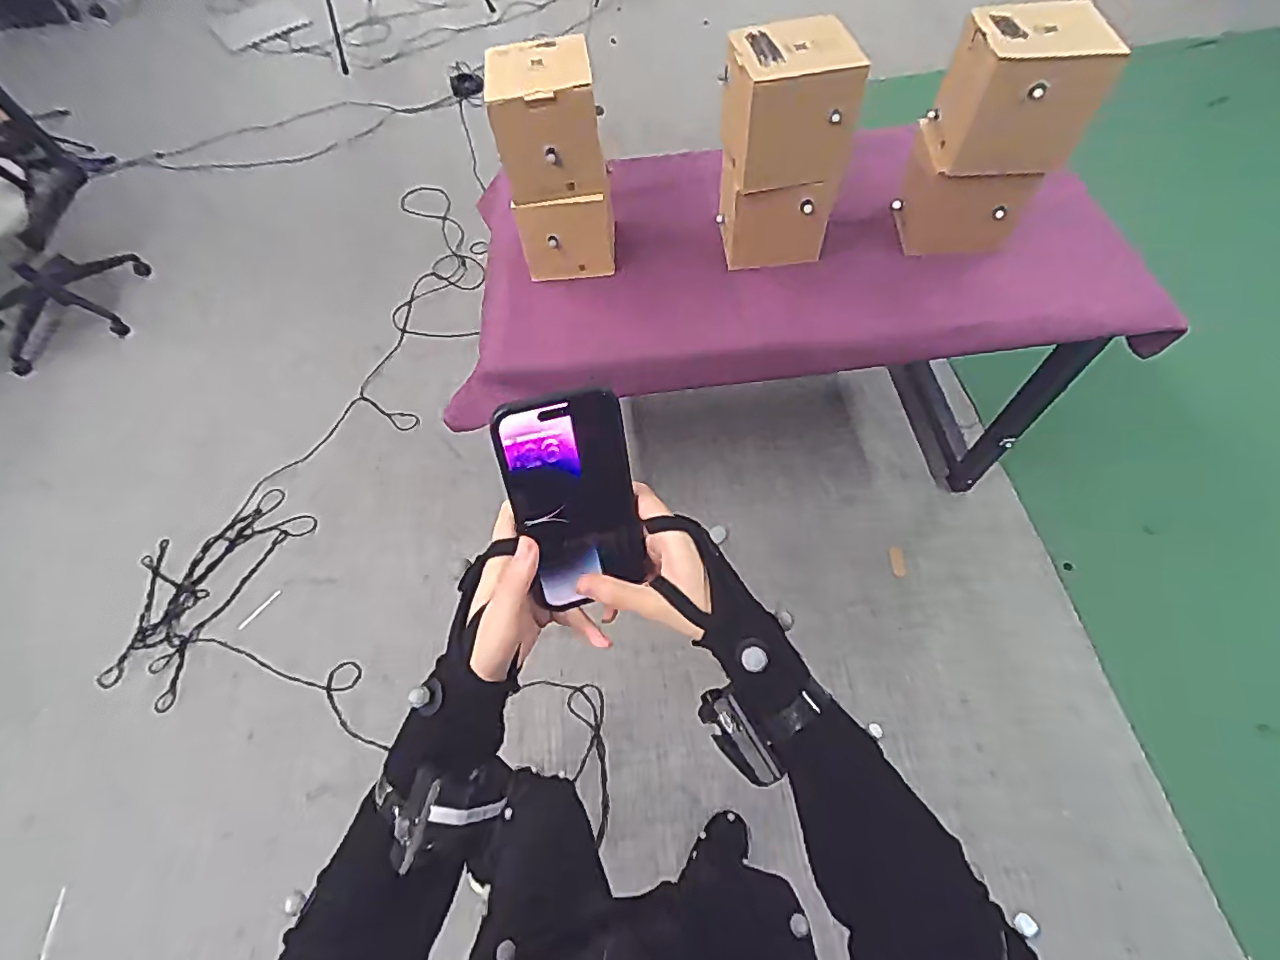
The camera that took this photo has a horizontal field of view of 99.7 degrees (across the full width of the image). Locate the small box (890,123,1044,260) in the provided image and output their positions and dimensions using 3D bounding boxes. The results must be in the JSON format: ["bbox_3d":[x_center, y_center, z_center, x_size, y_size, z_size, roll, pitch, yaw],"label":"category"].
[{"bbox_3d":[0.591,-0.530,1.002,0.179,0.176,0.168,1,60,6],"label":"small box"}]

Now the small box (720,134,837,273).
[{"bbox_3d":[0.251,-0.517,1.025,0.179,0.176,0.168,-4,60,3],"label":"small box"}]

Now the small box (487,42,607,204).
[{"bbox_3d":[-0.152,-0.594,0.917,0.168,0.176,0.179,-8,61,0],"label":"small box"}]

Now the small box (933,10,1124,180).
[{"bbox_3d":[0.587,-0.599,0.853,0.179,0.176,0.168,1,60,5],"label":"small box"}]

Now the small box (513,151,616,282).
[{"bbox_3d":[-0.138,-0.505,1.055,0.168,0.176,0.179,-4,60,3],"label":"small box"}]
